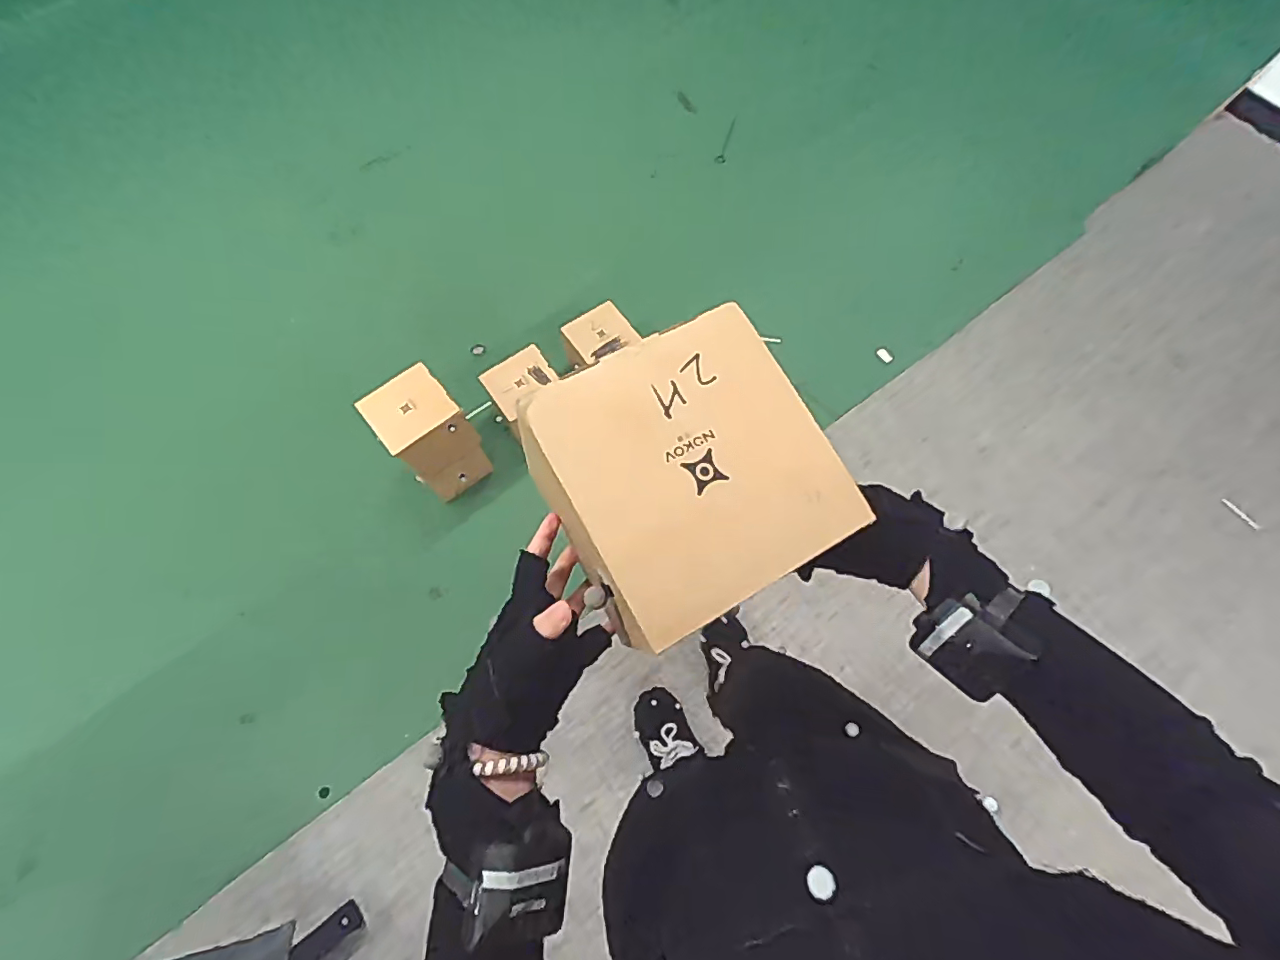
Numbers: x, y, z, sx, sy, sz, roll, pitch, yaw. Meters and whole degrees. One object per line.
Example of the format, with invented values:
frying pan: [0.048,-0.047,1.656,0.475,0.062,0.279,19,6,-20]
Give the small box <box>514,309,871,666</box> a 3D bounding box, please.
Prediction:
small box: [0.024,0.014,0.405,0.168,0.176,0.179,-27,80,-14]

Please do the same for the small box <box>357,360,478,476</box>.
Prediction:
small box: [-0.508,-0.137,1.262,0.179,0.176,0.168,-38,75,-13]

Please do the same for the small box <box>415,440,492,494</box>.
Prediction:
small box: [-0.514,-0.080,1.416,0.168,0.176,0.179,-37,76,-13]
